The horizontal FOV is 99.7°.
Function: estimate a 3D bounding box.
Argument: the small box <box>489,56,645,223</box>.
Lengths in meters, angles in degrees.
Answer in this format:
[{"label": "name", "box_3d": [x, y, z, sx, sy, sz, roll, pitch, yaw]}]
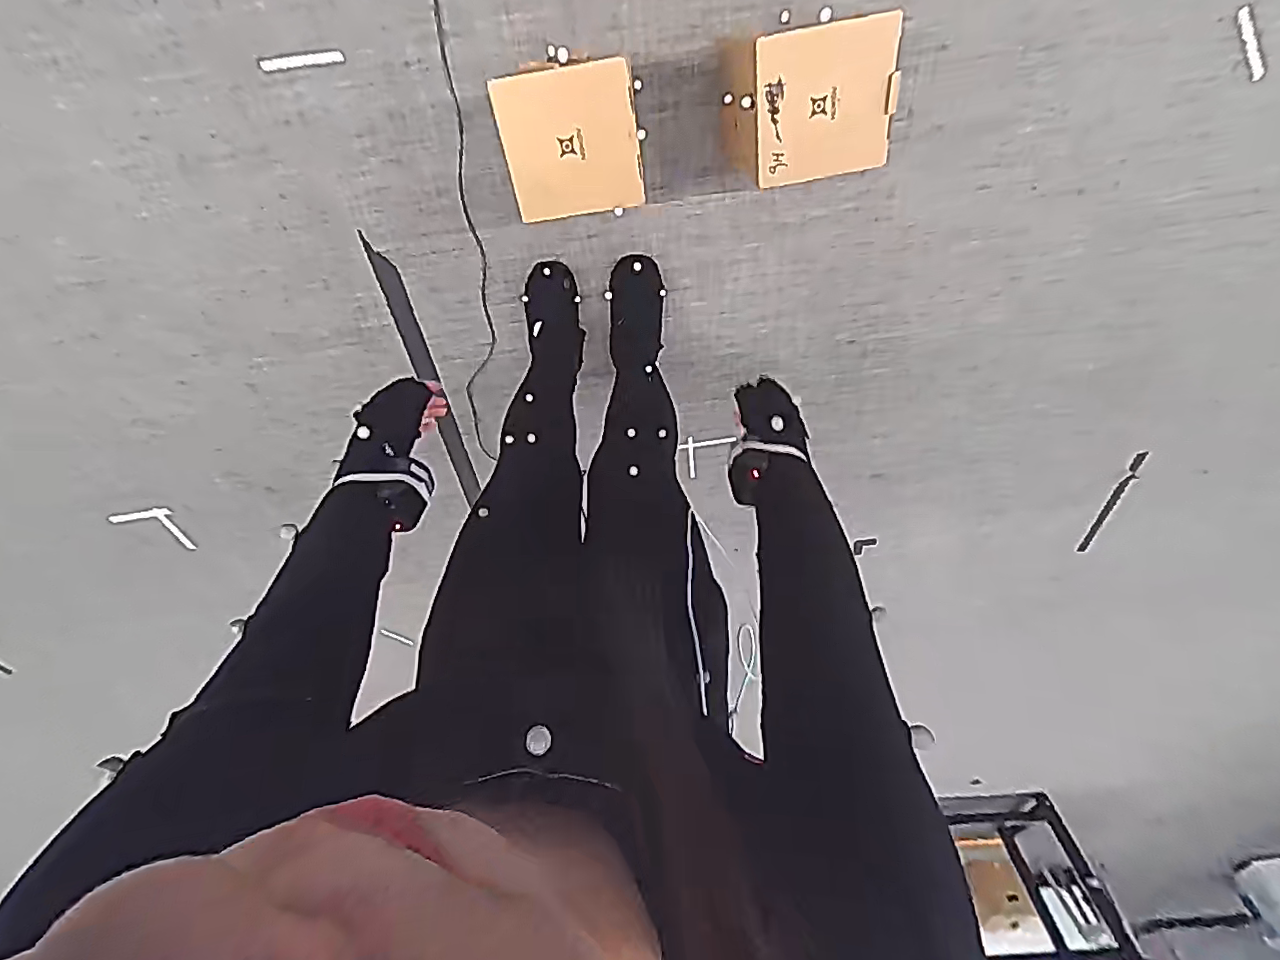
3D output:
[{"label": "small box", "box_3d": [-0.091, -0.481, 0.763, 0.179, 0.176, 0.168, -8, 129, 4]}]

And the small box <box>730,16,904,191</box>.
[{"label": "small box", "box_3d": [0.230, -0.521, 0.745, 0.179, 0.176, 0.168, -9, 129, 3]}]

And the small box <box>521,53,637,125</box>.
[{"label": "small box", "box_3d": [-0.090, -0.585, 0.887, 0.168, 0.176, 0.179, -5, 130, 1]}]

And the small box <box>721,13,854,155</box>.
[{"label": "small box", "box_3d": [0.228, -0.624, 0.873, 0.168, 0.176, 0.179, -8, 130, 3]}]
